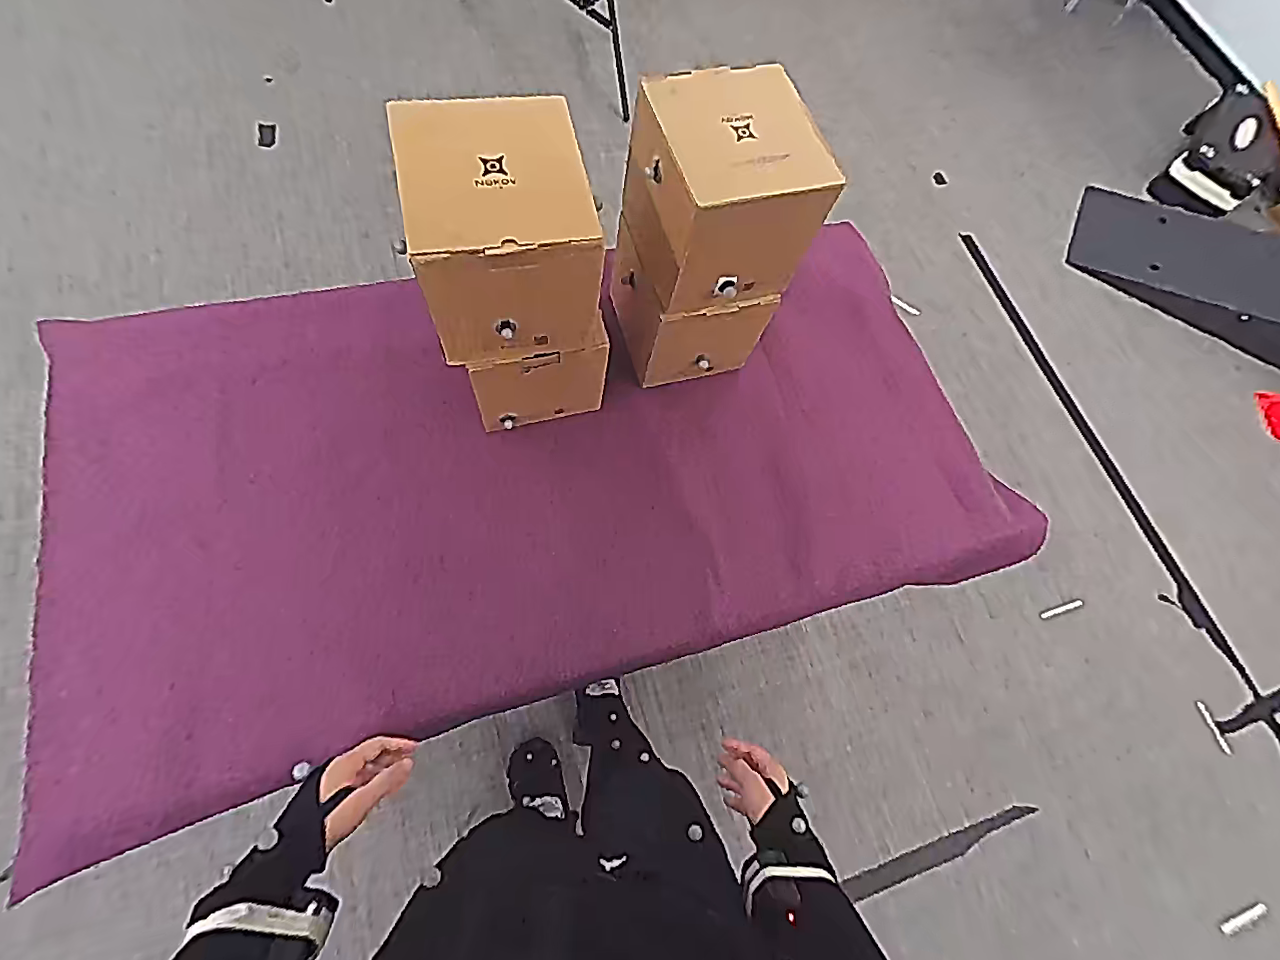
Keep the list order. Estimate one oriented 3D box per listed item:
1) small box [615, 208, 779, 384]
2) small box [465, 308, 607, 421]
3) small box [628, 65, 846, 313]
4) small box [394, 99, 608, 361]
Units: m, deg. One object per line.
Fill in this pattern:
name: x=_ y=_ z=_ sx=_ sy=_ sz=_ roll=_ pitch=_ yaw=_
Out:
small box: x=0.066 y=-0.262 z=0.767 sx=0.168 sy=0.176 sz=0.179 roll=-14 pitch=73 yaw=-12
small box: x=-0.146 y=-0.191 z=0.709 sx=0.168 sy=0.176 sz=0.179 roll=-14 pitch=73 yaw=-13
small box: x=0.093 y=-0.324 z=0.618 sx=0.168 sy=0.176 sz=0.179 roll=-16 pitch=74 yaw=-13
small box: x=-0.138 y=-0.248 z=0.556 sx=0.168 sy=0.176 sz=0.179 roll=-11 pitch=73 yaw=-12
